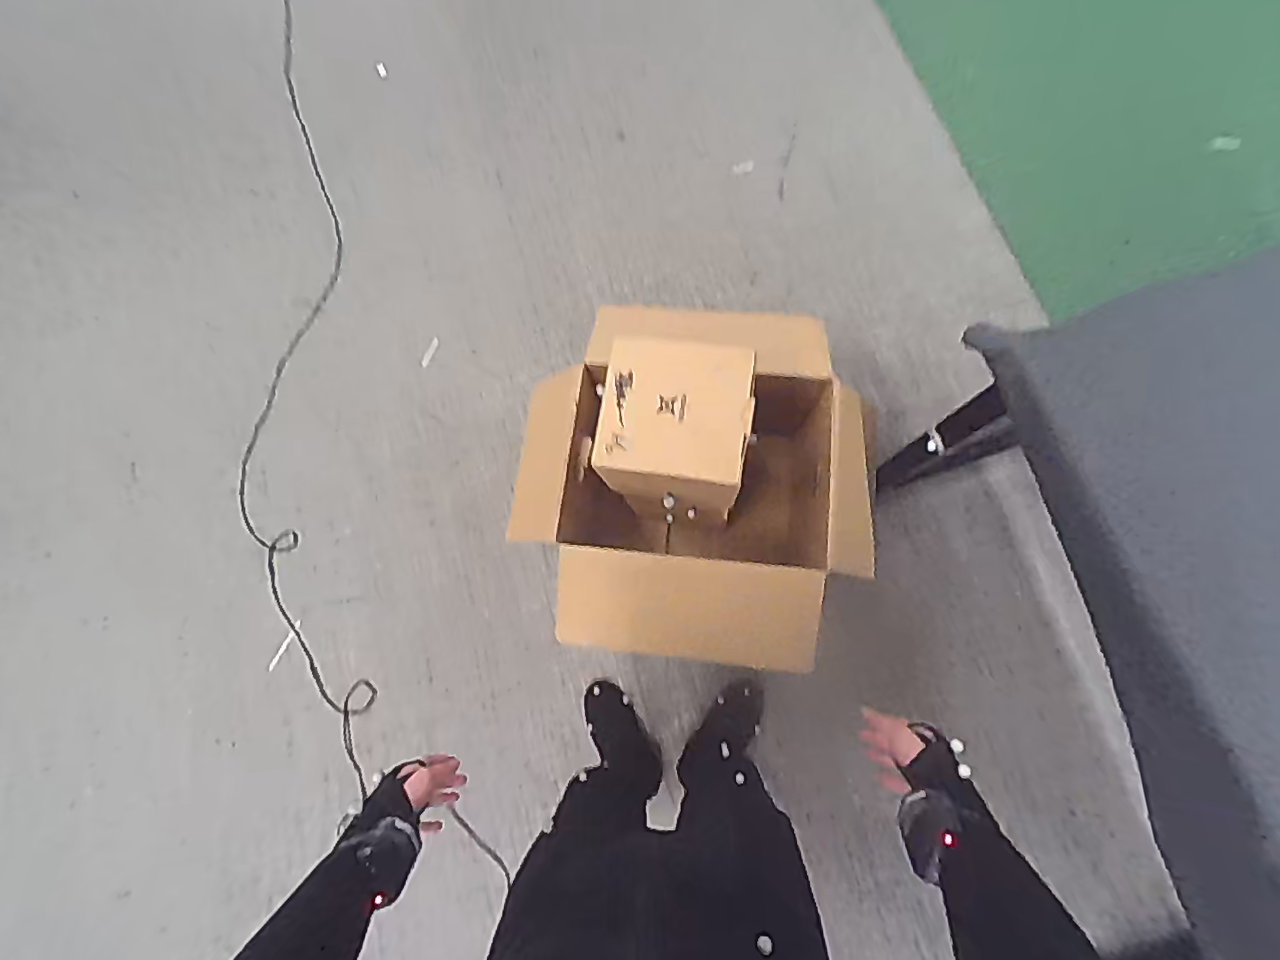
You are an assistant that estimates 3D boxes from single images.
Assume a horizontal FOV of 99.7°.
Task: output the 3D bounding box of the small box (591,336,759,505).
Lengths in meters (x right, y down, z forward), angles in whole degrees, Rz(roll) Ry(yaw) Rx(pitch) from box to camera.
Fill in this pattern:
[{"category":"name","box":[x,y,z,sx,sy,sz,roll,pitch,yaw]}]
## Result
[{"category":"small box","box":[0.049,-0.067,0.710,0.179,0.176,0.168,9,79,8]}]
